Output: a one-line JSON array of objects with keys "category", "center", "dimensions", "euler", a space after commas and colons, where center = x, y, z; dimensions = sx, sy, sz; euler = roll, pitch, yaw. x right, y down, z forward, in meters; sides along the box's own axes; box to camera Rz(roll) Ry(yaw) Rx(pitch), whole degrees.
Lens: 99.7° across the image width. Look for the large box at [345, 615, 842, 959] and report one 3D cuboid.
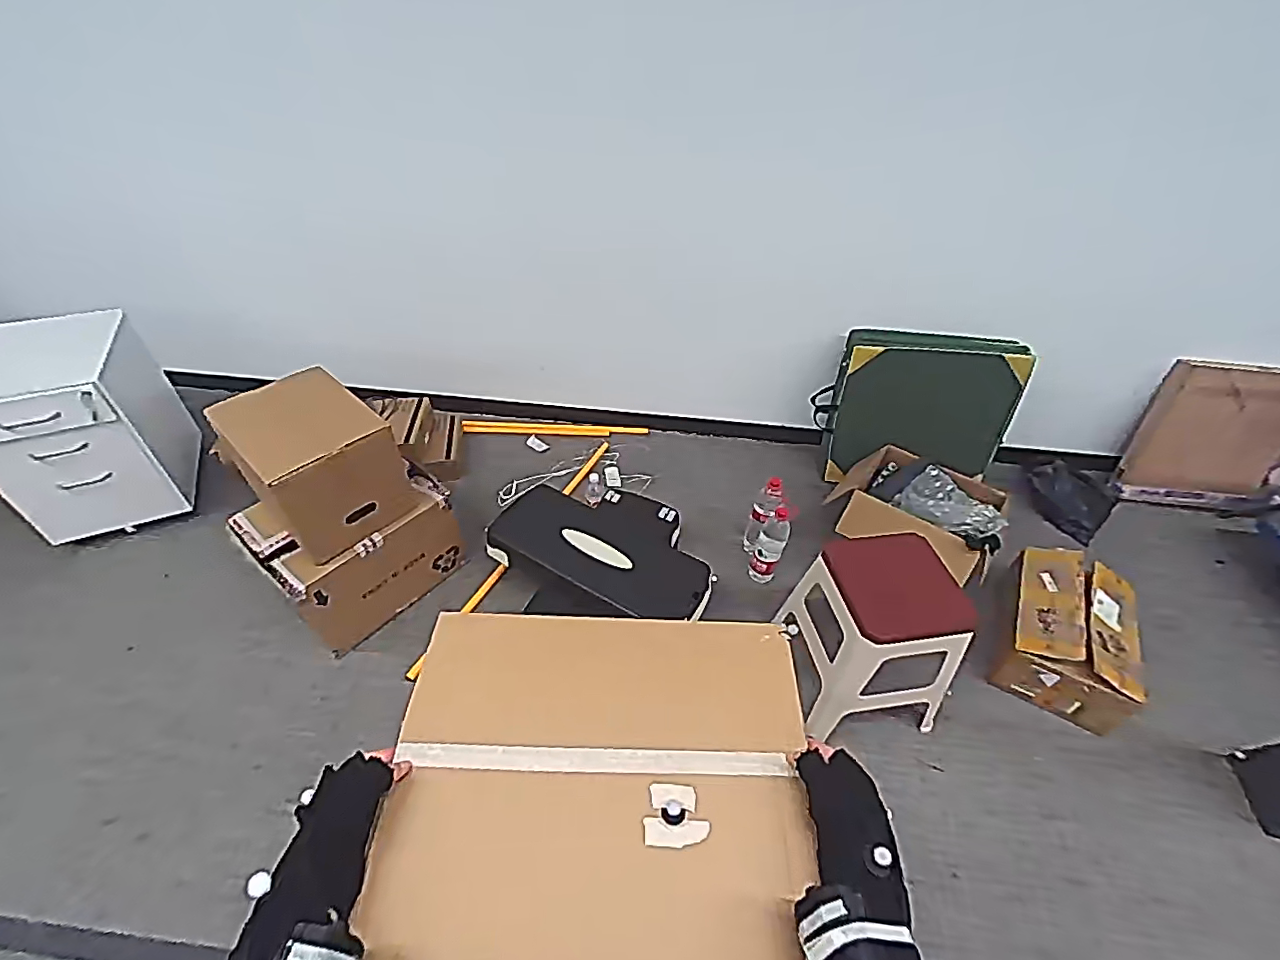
[{"category": "large box", "center": [-0.040, 0.379, 0.634], "dimensions": [0.408, 0.320, 0.320], "euler": [3, 45, 0]}]
